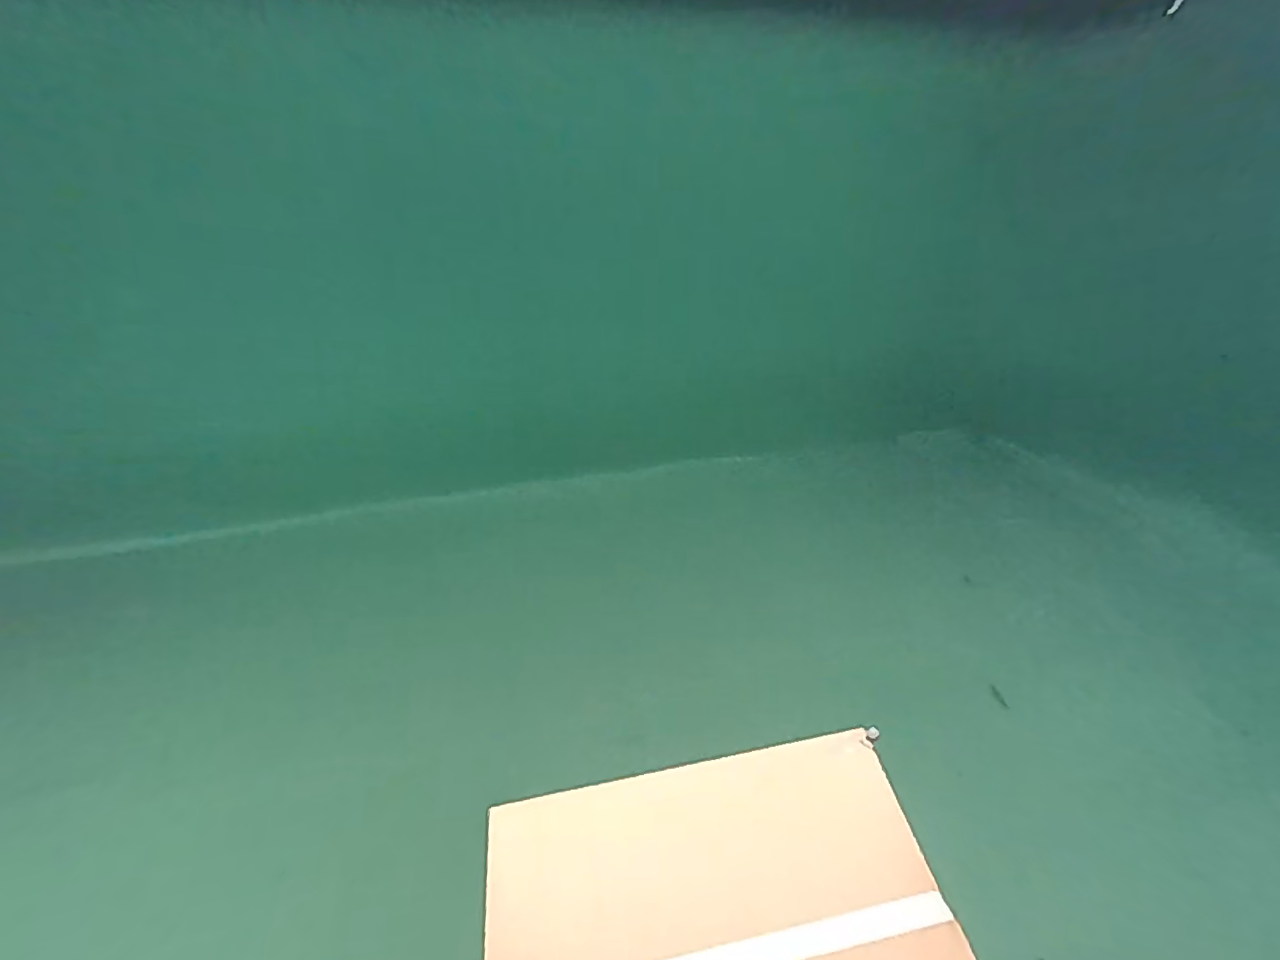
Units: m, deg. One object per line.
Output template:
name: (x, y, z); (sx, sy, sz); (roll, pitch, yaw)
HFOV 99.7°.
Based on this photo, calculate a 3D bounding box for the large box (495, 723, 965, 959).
large box: (0.080, 0.513, 0.574); (0.408, 0.320, 0.320); (-9, 45, -5)
